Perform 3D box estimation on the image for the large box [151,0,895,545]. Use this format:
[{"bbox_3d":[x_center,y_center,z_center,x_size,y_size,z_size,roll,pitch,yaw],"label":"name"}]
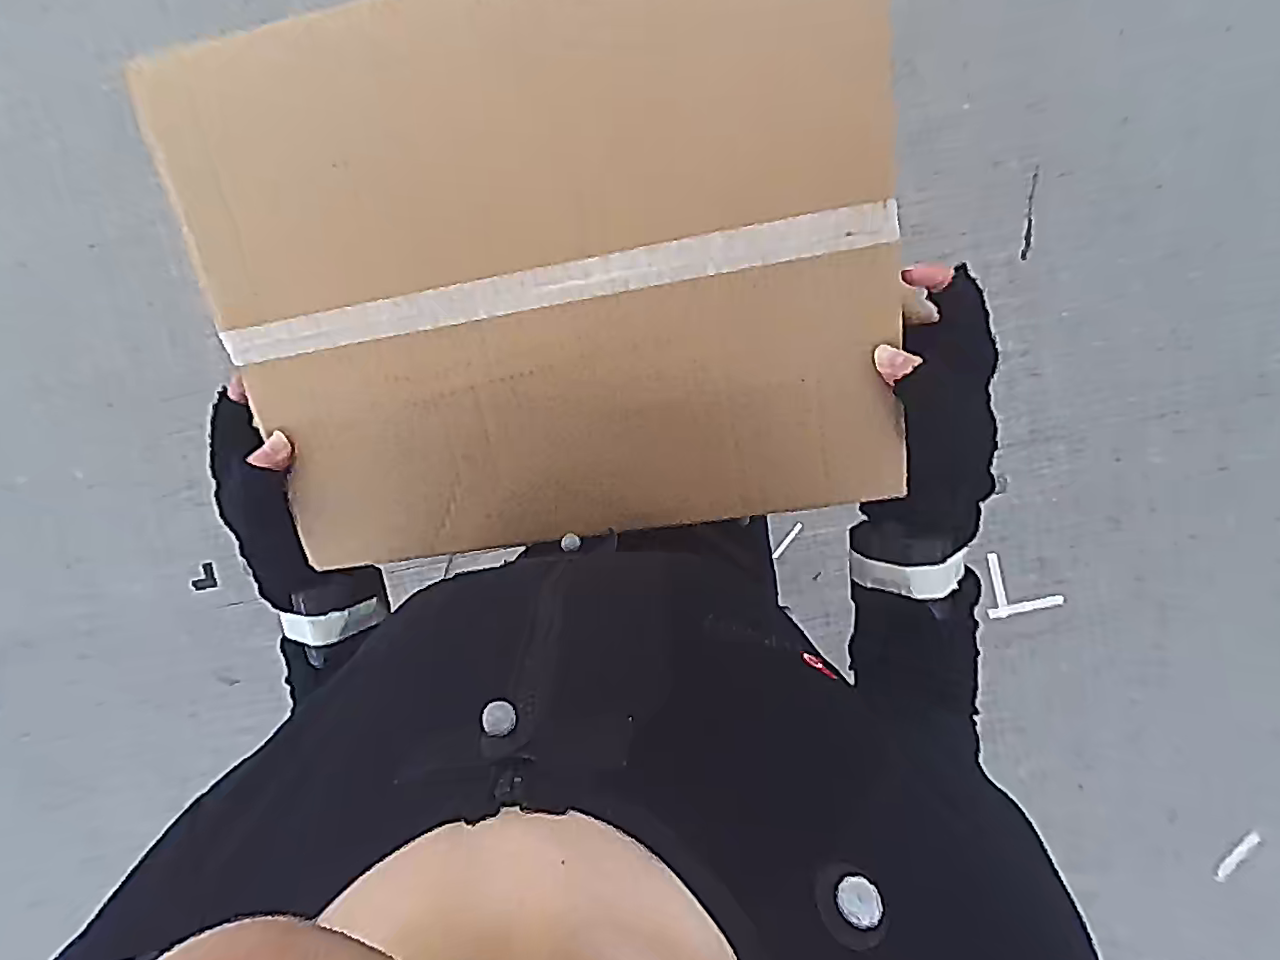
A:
[{"bbox_3d":[-0.051,-0.169,0.465,0.408,0.320,0.320,-8,108,7],"label":"large box"}]
